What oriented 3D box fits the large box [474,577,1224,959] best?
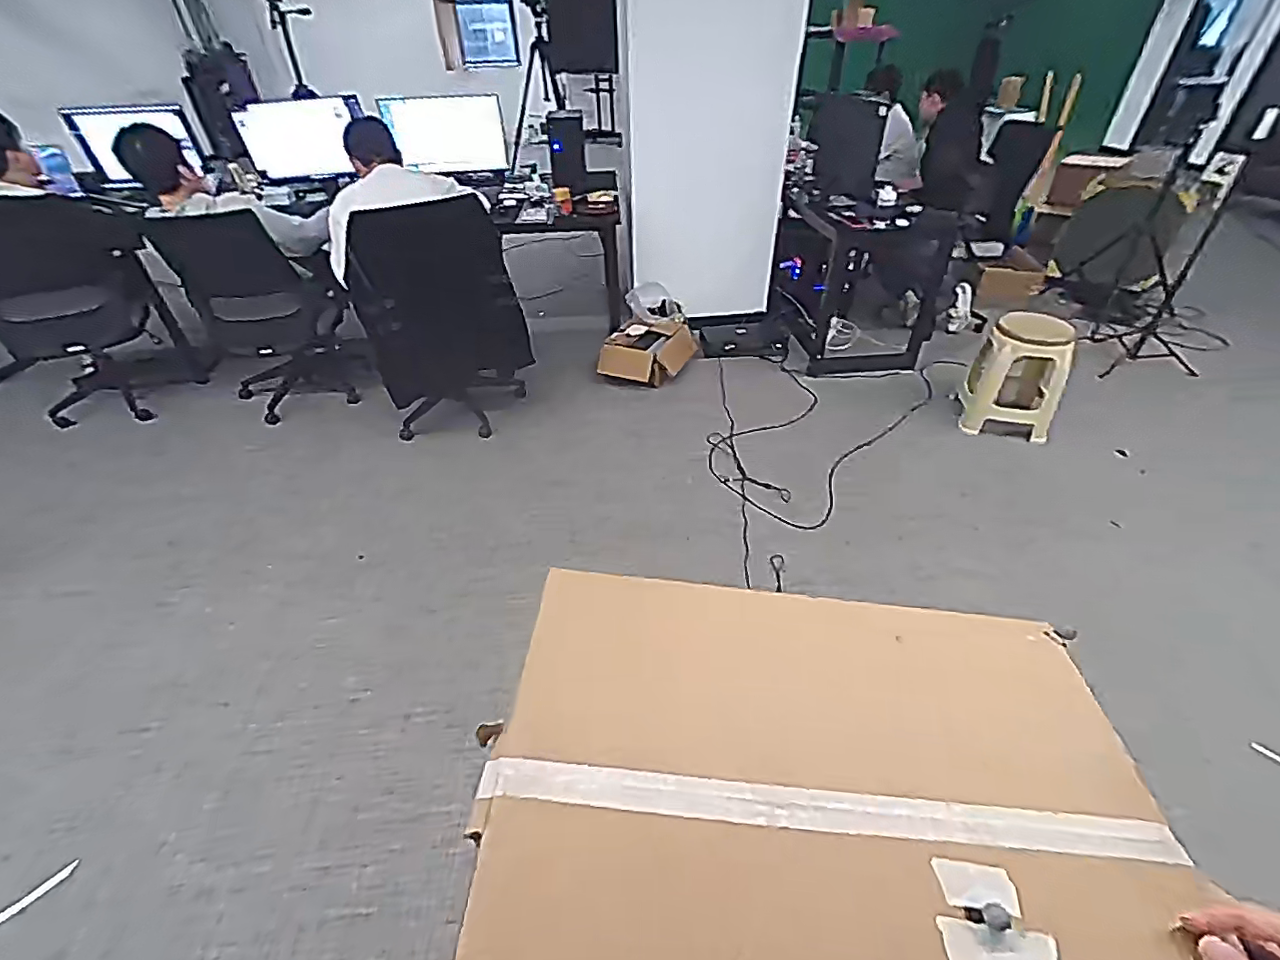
[{"bbox_3d":[0.103,0.310,0.427,0.408,0.320,0.320,7,42,-1],"label":"large box"}]
